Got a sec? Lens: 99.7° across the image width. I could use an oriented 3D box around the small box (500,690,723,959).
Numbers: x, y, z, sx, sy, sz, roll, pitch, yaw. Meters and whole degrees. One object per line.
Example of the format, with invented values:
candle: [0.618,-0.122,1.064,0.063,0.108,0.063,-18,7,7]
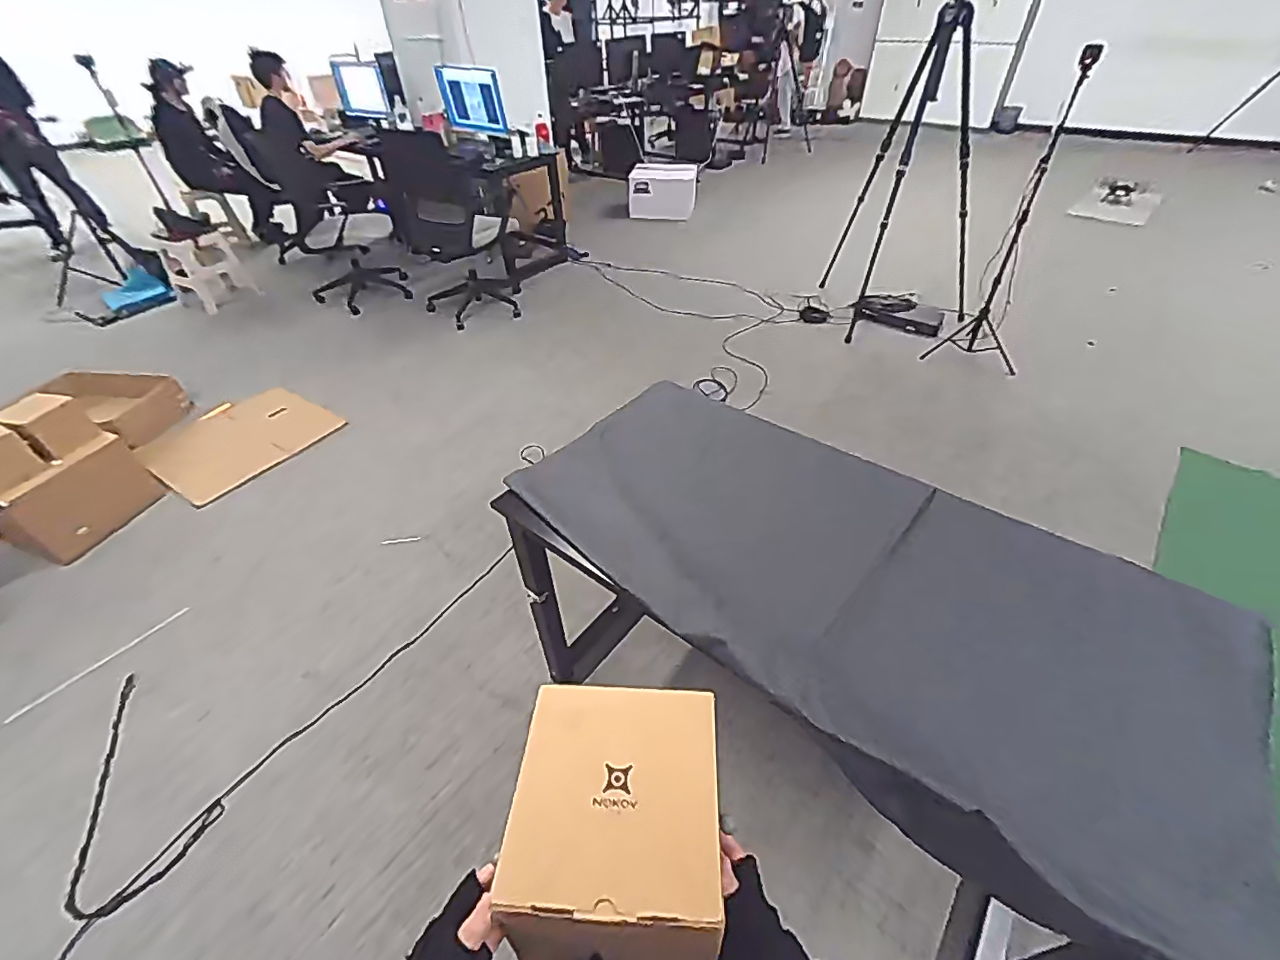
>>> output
small box: [-0.015,0.323,0.500,0.168,0.176,0.179,2,38,4]
